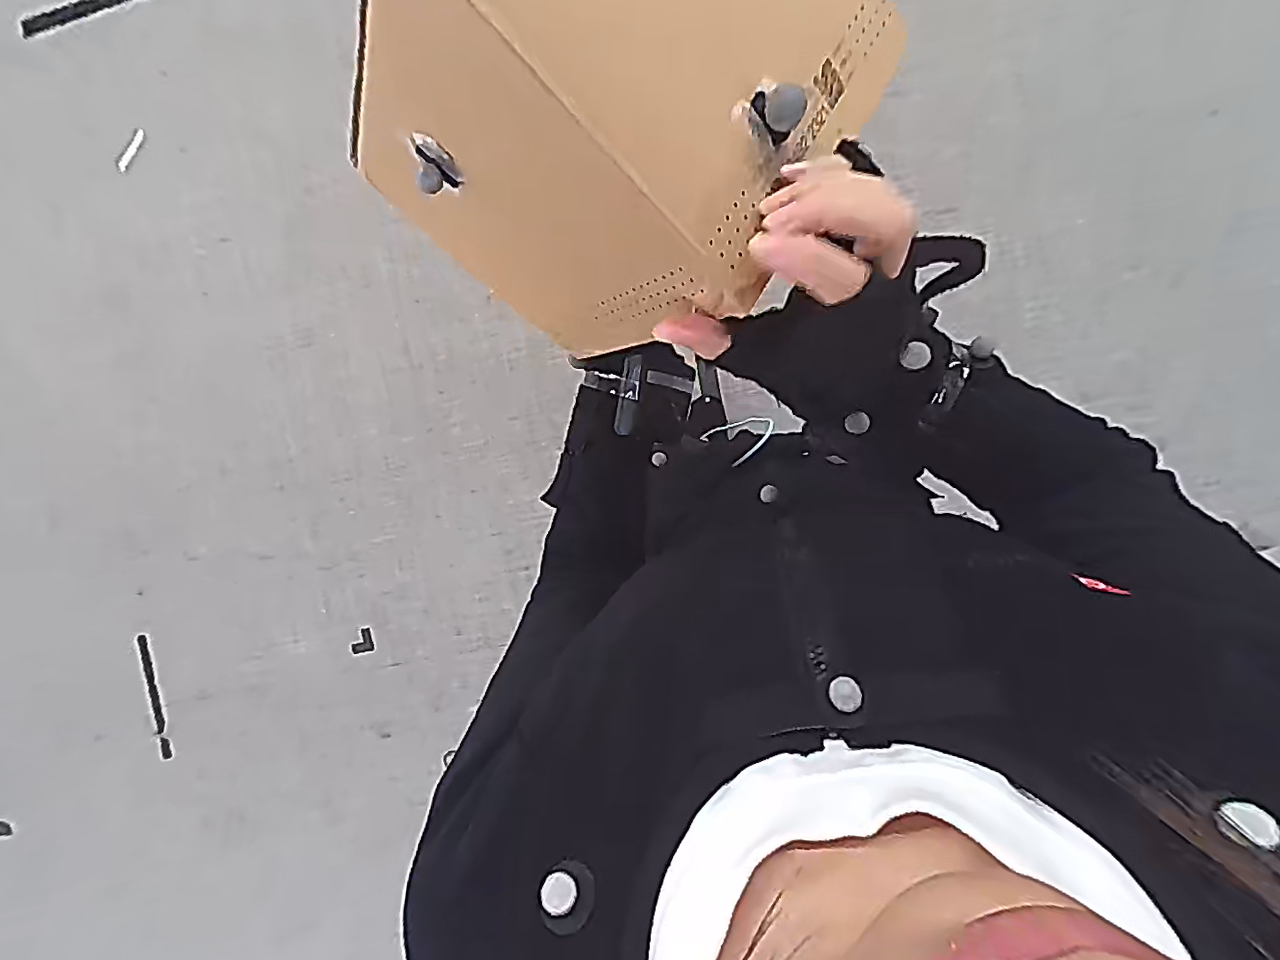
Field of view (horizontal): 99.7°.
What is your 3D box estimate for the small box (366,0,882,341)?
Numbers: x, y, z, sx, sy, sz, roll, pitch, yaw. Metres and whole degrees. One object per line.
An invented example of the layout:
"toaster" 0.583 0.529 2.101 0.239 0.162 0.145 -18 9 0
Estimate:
"small box" -0.016 -0.193 0.286 0.176 0.179 0.168 36 77 -27
